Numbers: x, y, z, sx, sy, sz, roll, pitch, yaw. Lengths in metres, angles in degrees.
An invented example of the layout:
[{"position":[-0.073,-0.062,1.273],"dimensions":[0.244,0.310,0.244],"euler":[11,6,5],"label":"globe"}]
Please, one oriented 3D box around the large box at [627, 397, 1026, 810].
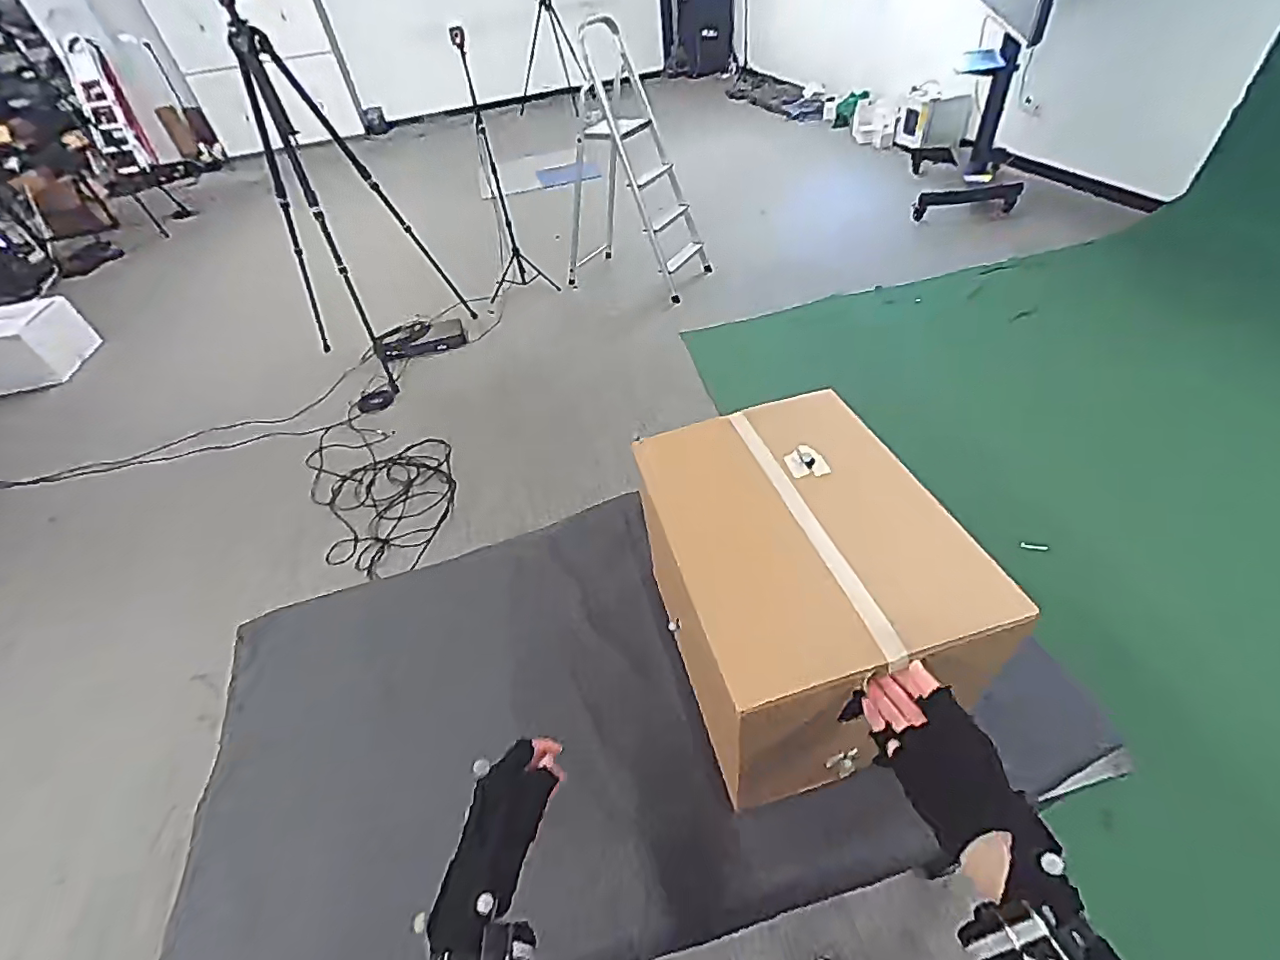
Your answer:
[{"position":[0.198,0.150,0.744],"dimensions":[0.320,0.320,0.408],"euler":[-15,43,-6],"label":"large box"}]
